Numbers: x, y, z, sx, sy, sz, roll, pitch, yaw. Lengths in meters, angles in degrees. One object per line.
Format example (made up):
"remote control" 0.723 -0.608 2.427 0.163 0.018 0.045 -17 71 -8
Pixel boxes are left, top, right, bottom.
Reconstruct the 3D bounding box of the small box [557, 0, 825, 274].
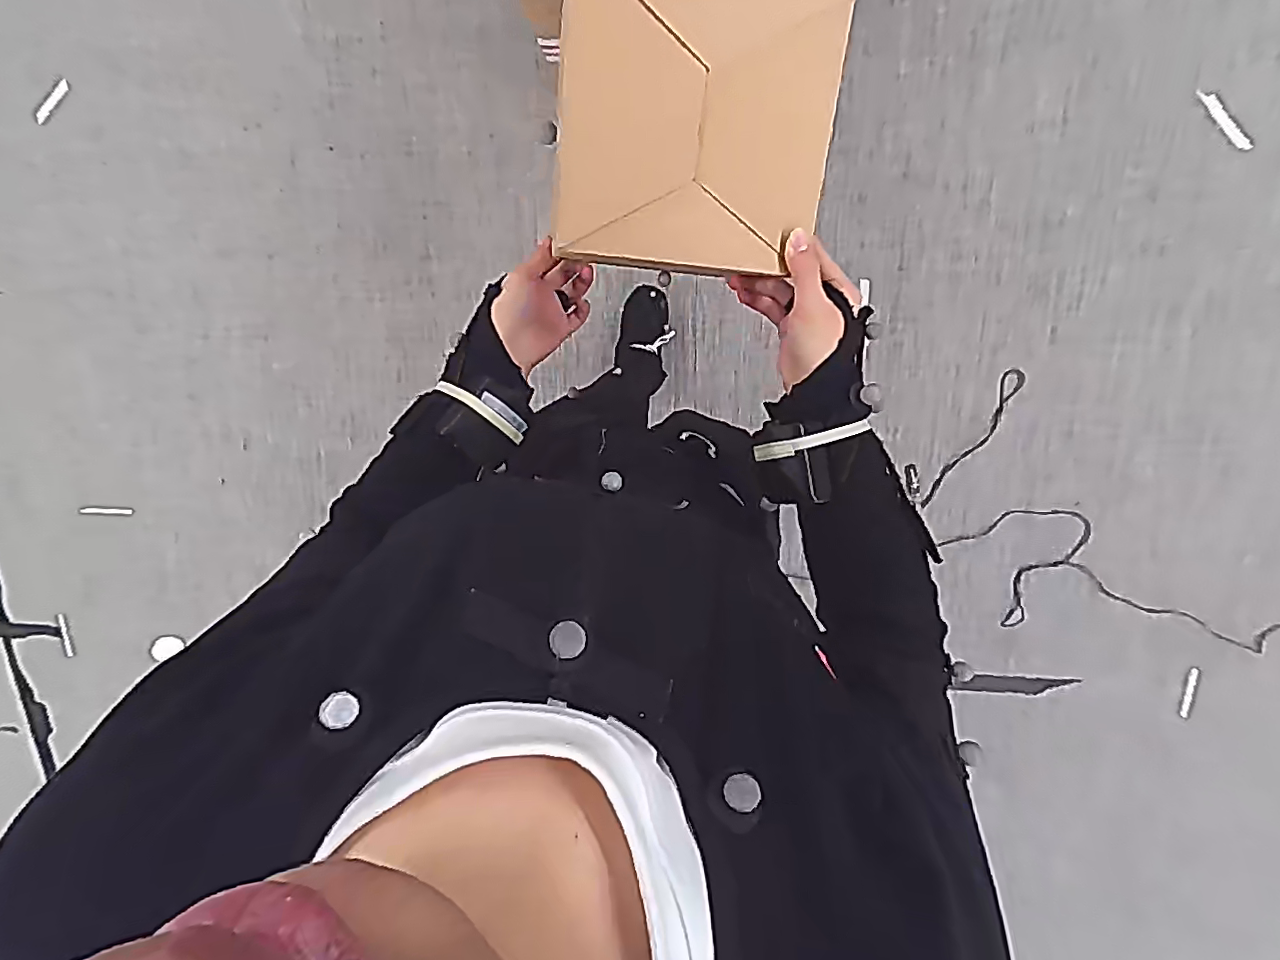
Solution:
"small box" 0.026 -0.256 0.426 0.179 0.176 0.168 2 109 -12
